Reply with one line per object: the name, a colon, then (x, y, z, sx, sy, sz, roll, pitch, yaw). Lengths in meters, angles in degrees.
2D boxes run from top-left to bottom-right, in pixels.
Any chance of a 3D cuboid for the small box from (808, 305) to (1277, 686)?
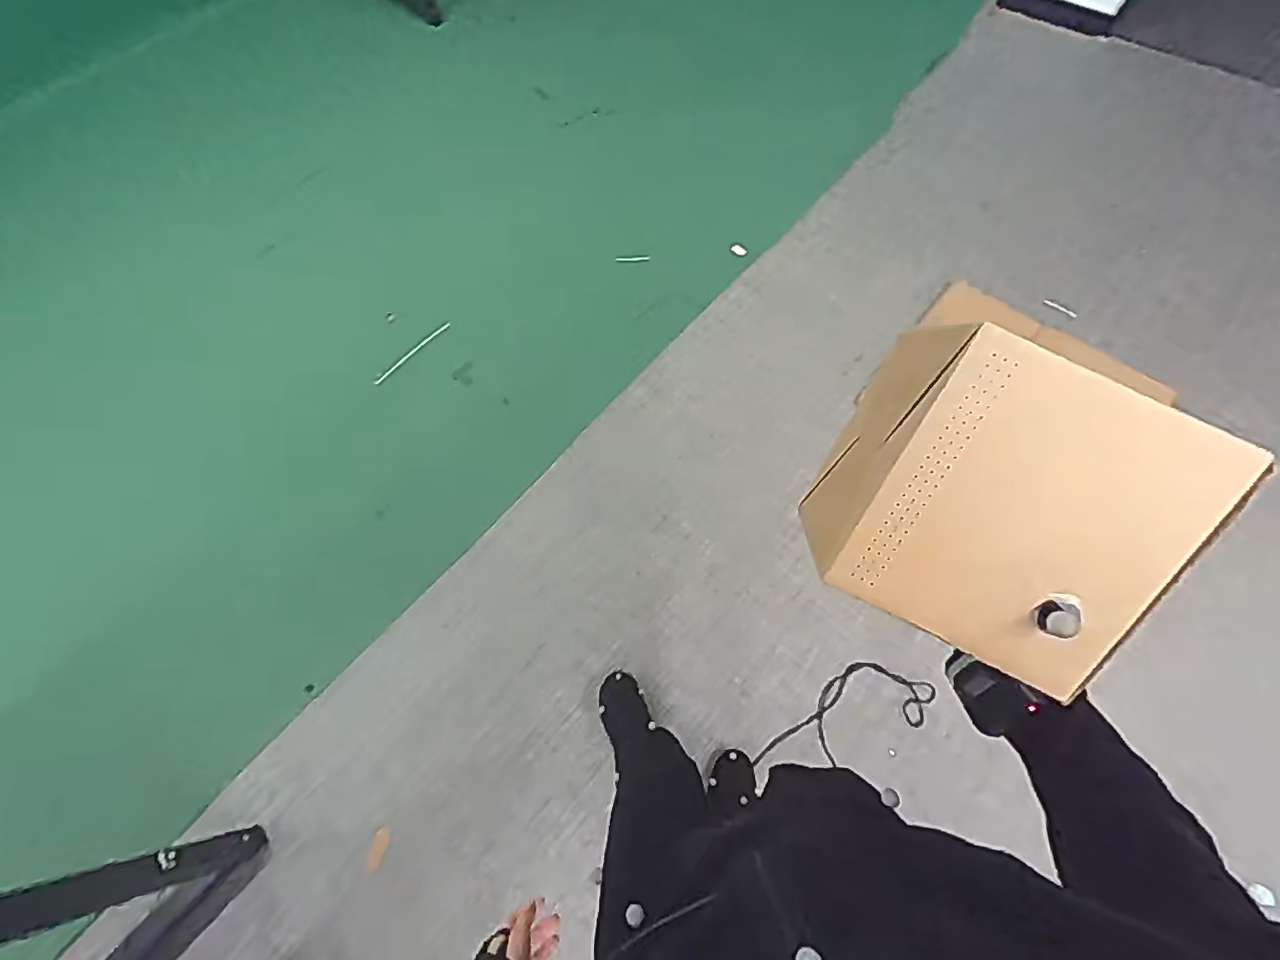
small box: (0.241, -0.001, 0.388, 0.176, 0.168, 0.179, 28, 107, 3)
